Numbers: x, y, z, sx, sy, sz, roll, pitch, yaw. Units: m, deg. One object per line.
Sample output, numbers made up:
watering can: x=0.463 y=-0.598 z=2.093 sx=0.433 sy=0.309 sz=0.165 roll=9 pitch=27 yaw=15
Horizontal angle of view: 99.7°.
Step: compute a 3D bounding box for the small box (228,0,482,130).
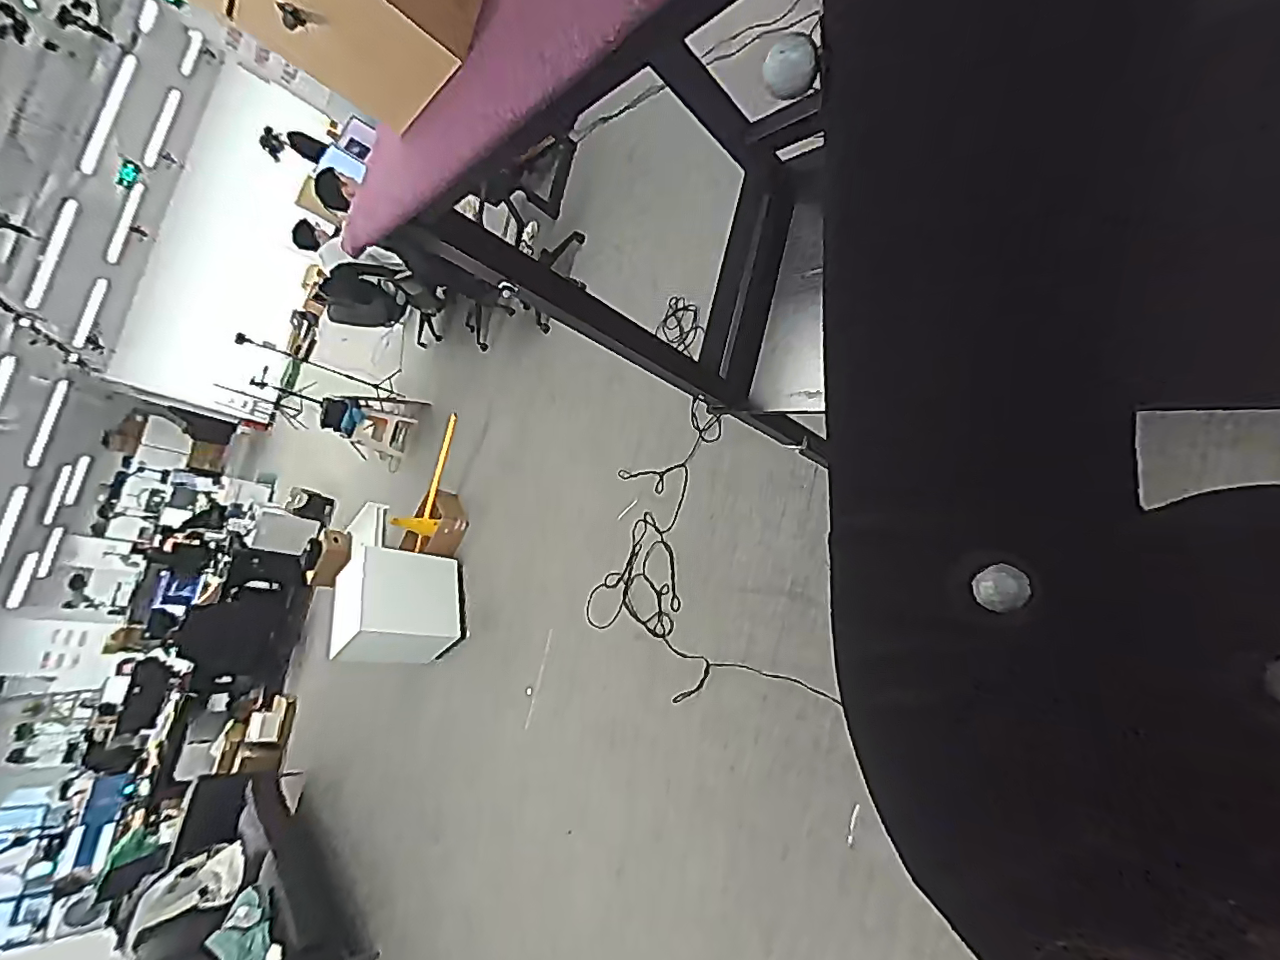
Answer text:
small box: x=-0.257 y=-0.482 z=0.513 sx=0.179 sy=0.176 sz=0.168 roll=6 pitch=81 yaw=48
